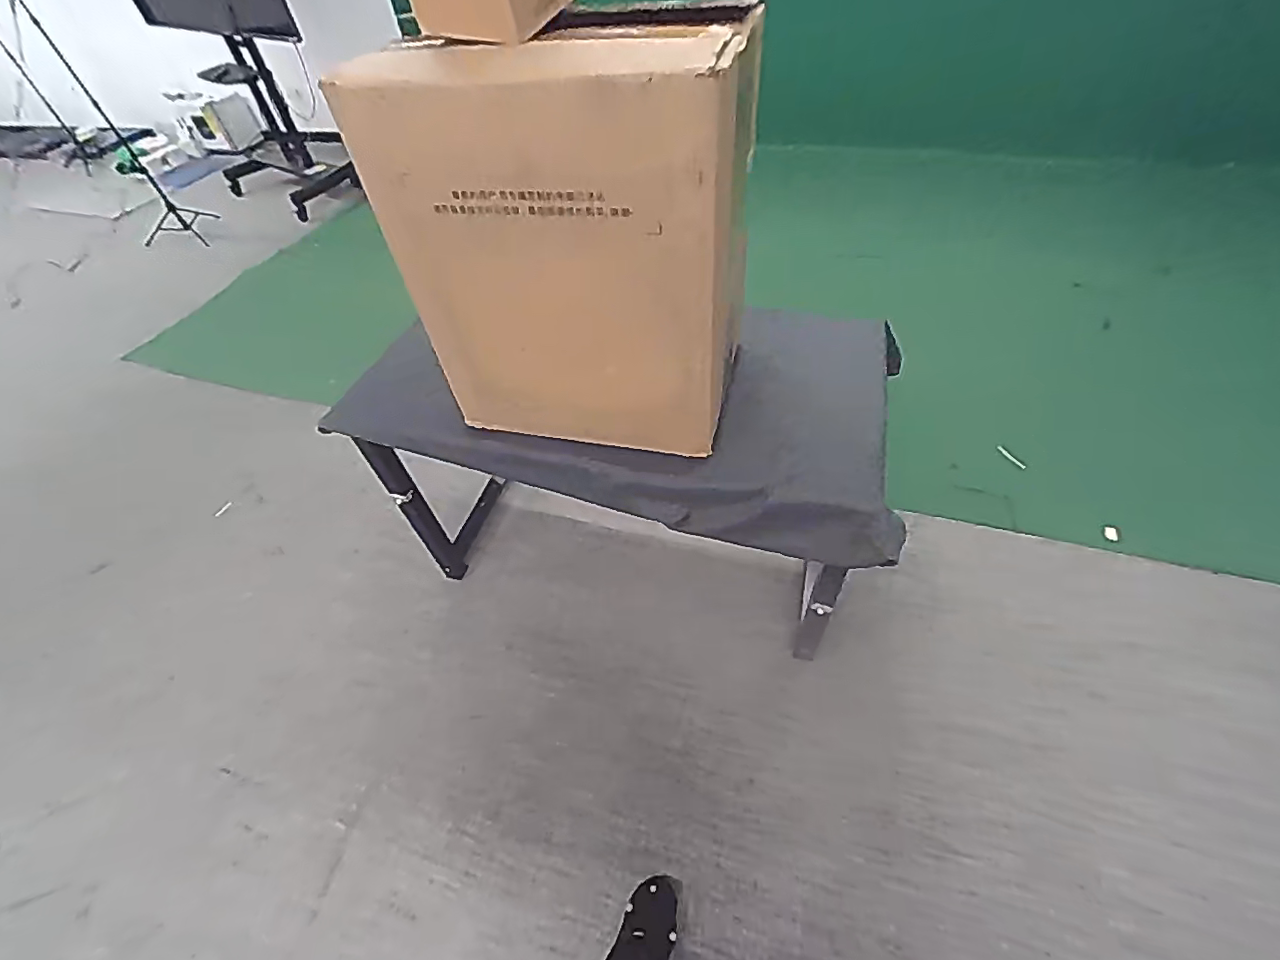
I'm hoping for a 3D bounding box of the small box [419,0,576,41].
[{"bbox_3d":[-0.199,-0.701,0.695,0.179,0.176,0.168,22,66,20],"label":"small box"}]
